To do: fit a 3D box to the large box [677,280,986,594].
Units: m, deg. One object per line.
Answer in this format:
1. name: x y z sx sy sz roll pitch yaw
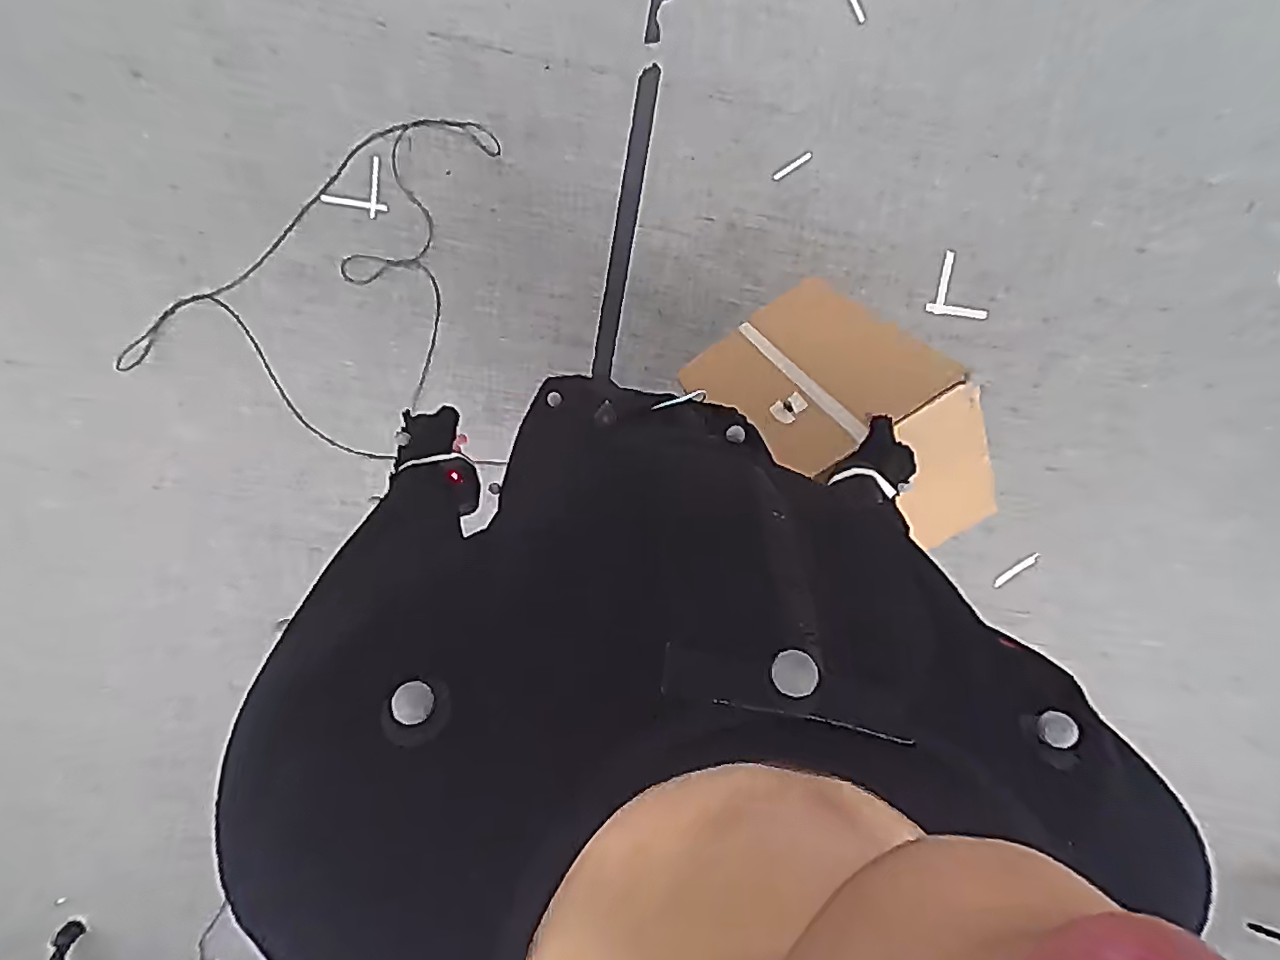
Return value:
1. large box: 0.323 -0.083 0.962 0.320 0.408 0.320 -35 131 8
